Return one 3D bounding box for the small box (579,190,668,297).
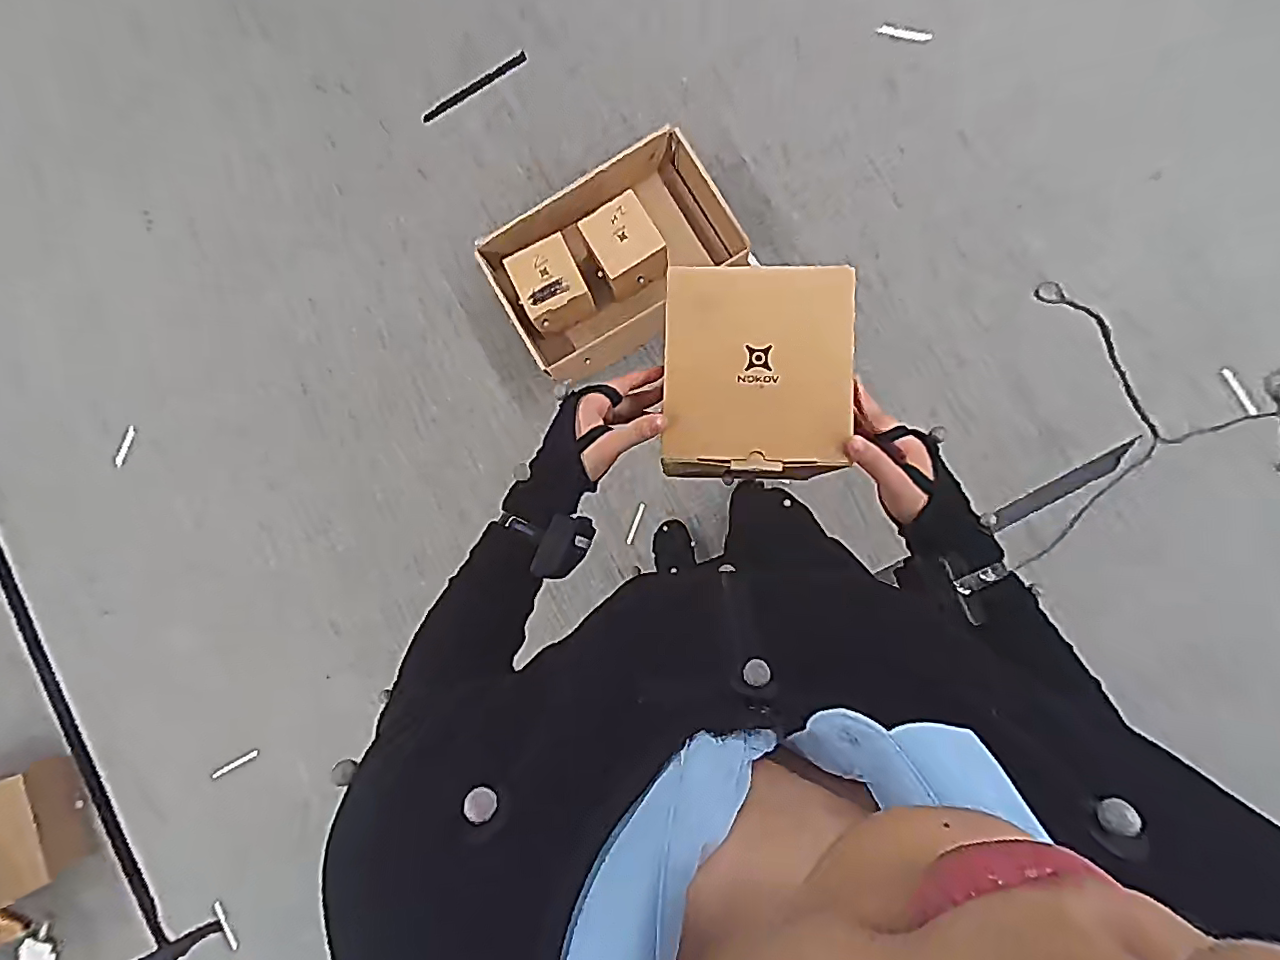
[{"bbox_3d":[-0.036,-0.611,1.430,0.168,0.176,0.179,-31,85,2],"label":"small box"}]
